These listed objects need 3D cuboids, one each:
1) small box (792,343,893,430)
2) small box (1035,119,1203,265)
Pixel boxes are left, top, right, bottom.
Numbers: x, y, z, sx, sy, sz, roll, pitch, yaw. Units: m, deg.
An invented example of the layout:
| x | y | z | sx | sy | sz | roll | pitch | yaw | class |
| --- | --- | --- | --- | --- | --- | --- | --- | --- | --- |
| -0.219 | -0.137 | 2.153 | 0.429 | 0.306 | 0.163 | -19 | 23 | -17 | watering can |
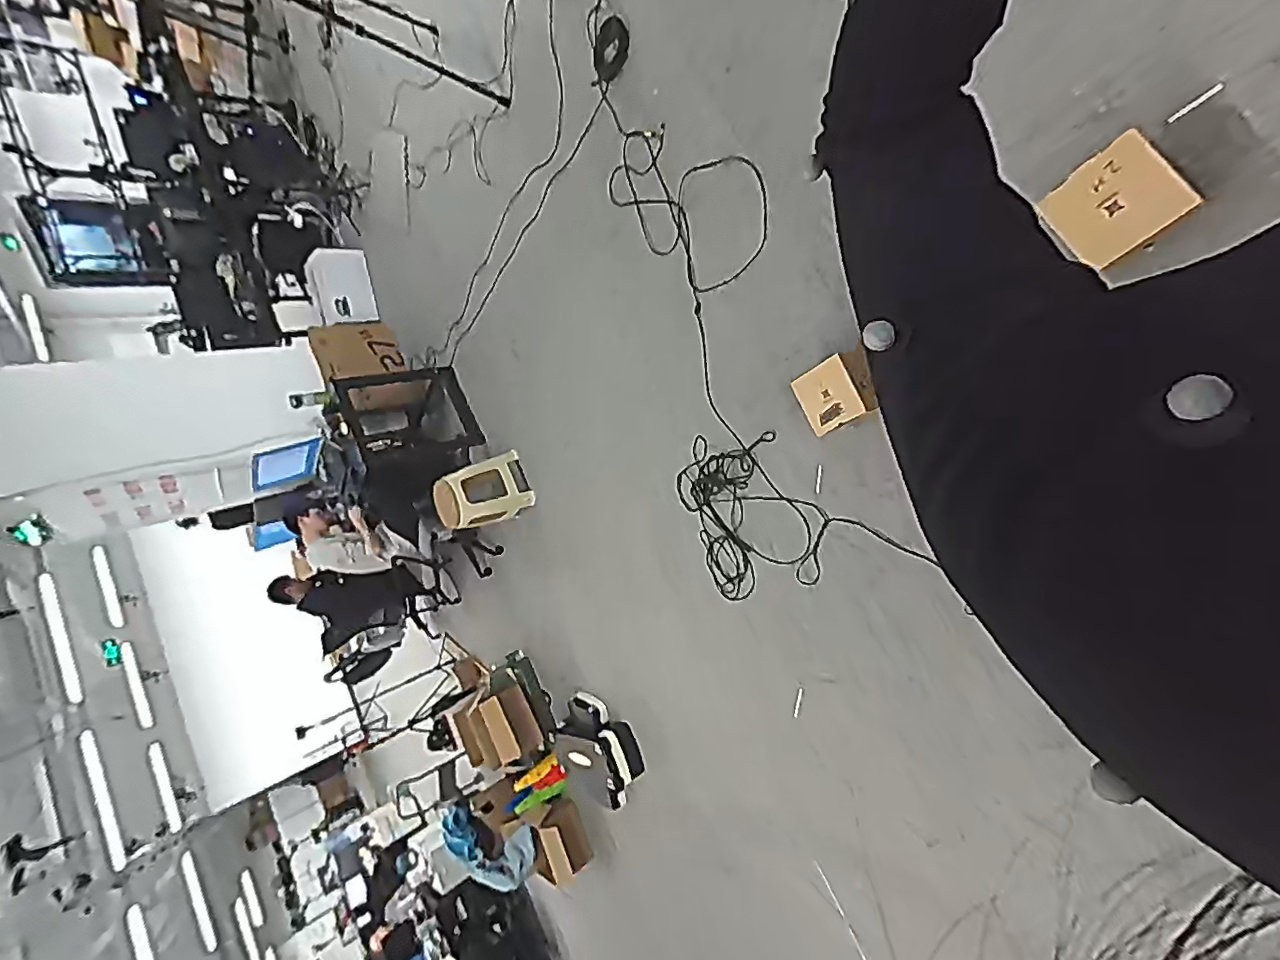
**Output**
| x | y | z | sx | sy | sz | roll | pitch | yaw | class |
| --- | --- | --- | --- | --- | --- | --- | --- | --- | --- |
| 0.565 | -0.262 | 1.502 | 0.168 | 0.176 | 0.179 | -33 | 78 | 50 | small box |
| 0.895 | -0.528 | 1.009 | 0.168 | 0.176 | 0.179 | -43 | 72 | 48 | small box |
